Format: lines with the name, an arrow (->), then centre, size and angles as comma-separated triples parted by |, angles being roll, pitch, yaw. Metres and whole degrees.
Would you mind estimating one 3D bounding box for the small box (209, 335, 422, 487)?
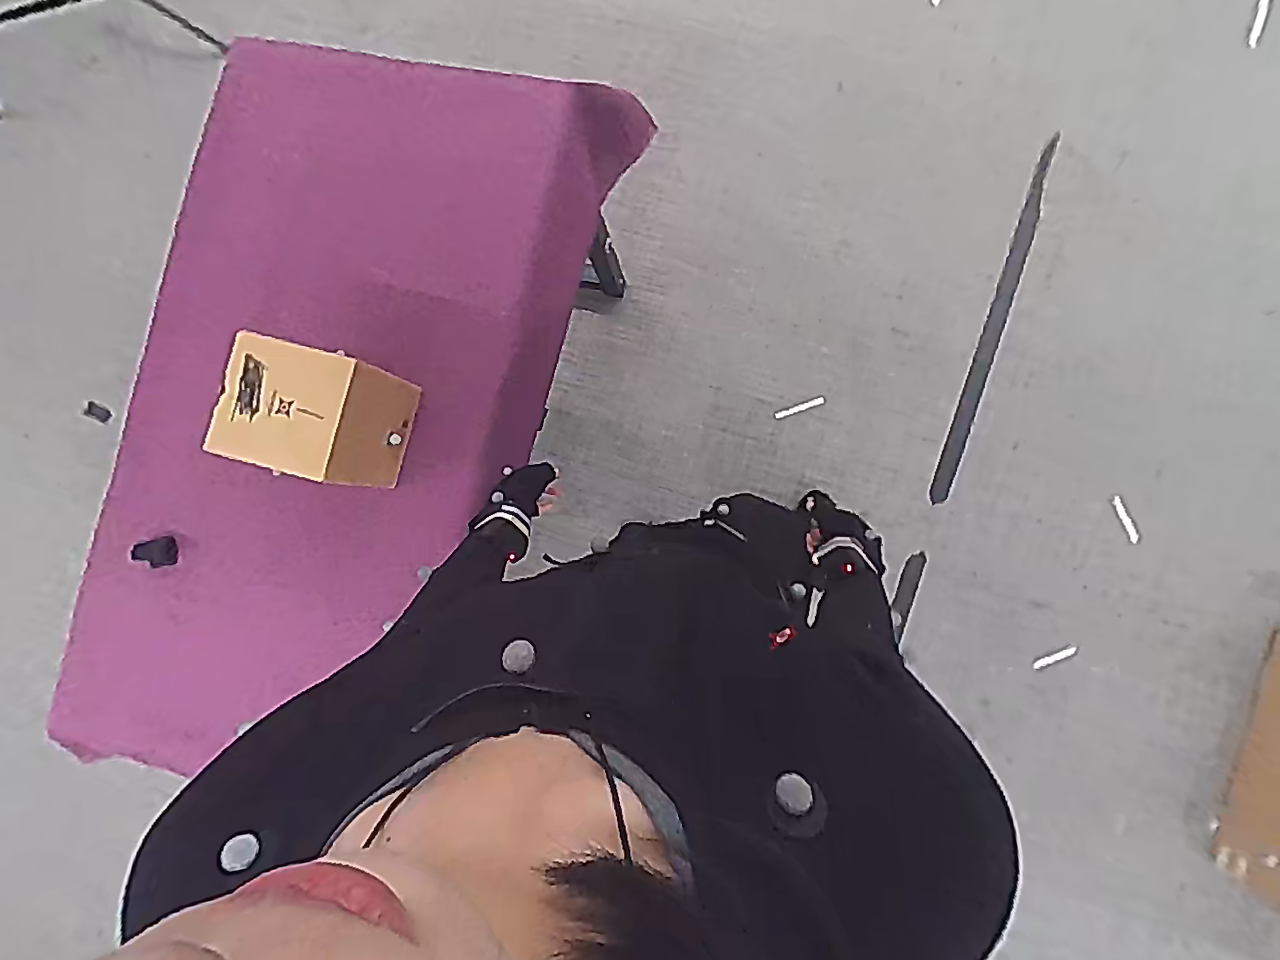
small box -> -0.453, -0.088, 0.779 | 0.179, 0.176, 0.168 | 14, 88, 7
